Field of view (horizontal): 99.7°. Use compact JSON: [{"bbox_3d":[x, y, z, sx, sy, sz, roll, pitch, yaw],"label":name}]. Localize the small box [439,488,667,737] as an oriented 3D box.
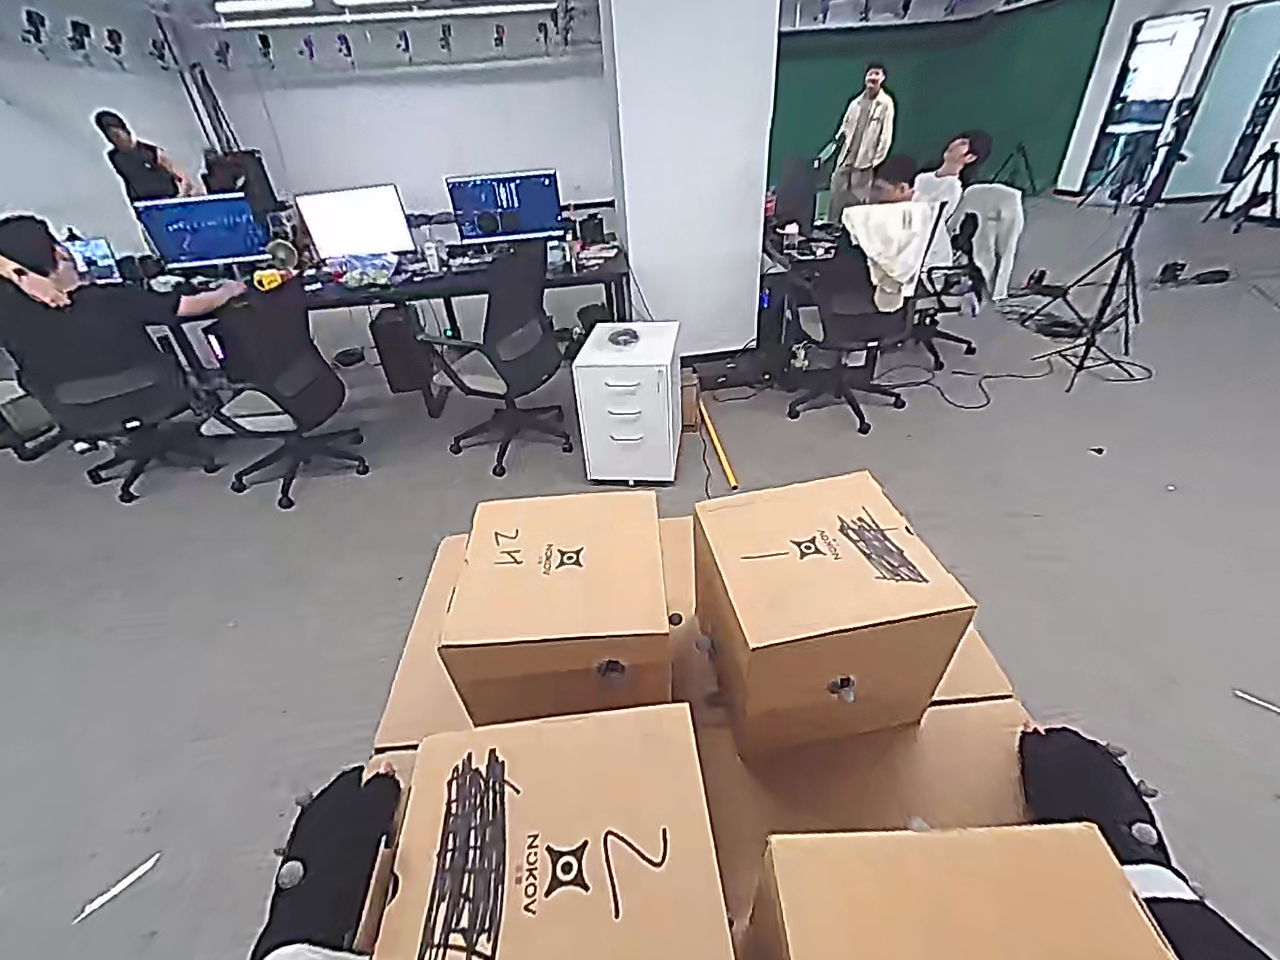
[{"bbox_3d":[-0.065,0.128,0.525,0.179,0.176,0.168,-5,38,2],"label":"small box"}]
